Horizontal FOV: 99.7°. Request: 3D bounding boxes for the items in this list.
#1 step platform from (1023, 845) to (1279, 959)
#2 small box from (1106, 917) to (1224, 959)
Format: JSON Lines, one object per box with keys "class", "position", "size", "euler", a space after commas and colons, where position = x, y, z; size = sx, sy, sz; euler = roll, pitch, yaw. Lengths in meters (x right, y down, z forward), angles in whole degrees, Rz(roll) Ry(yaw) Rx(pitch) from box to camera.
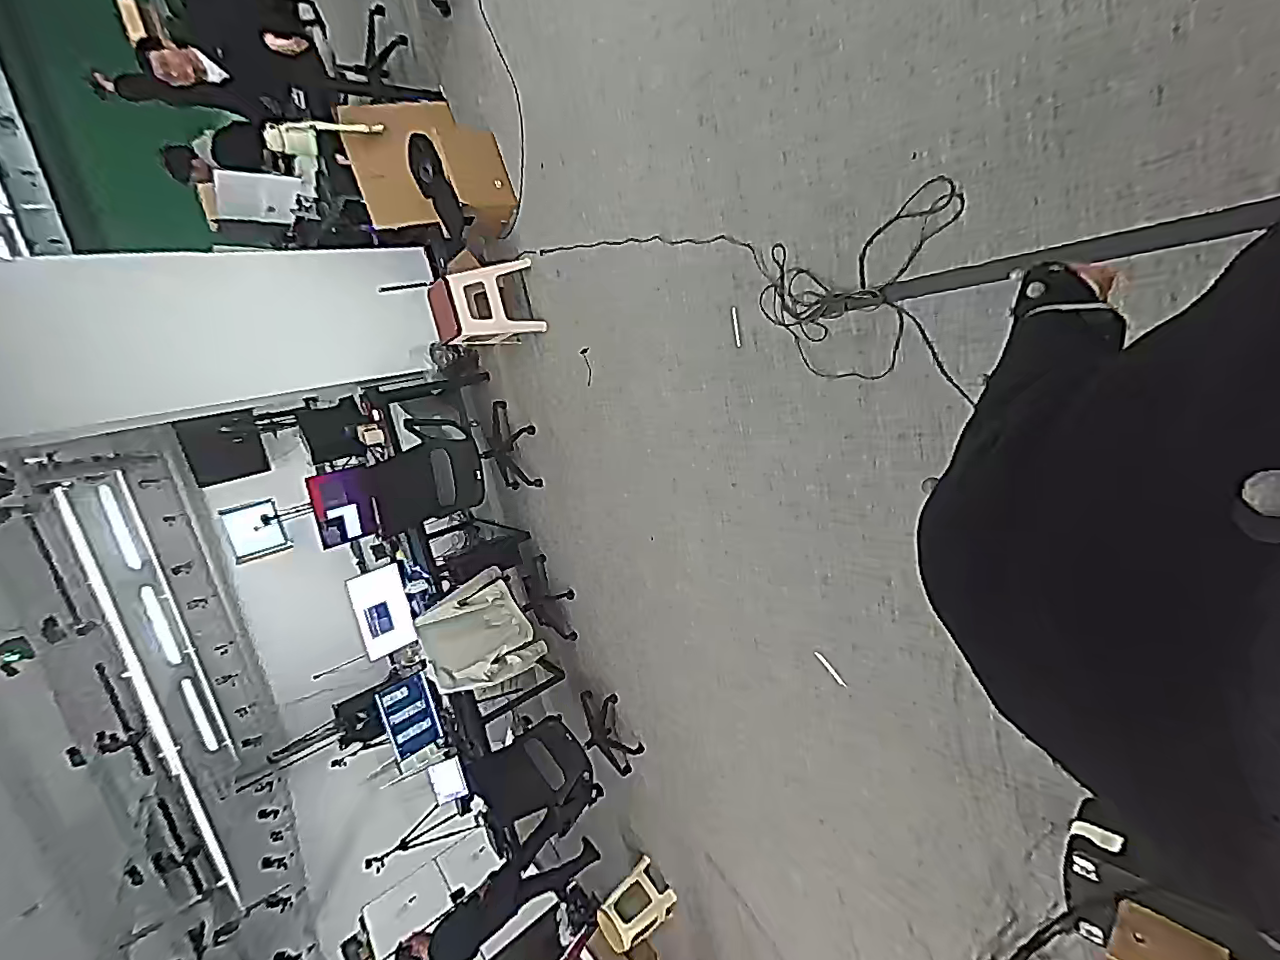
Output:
{"class": "step platform", "position": [1.183, 1.049, 1.056], "size": [0.684, 0.204, 0.286], "euler": [2, 109, 54]}
{"class": "small box", "position": [1.152, 1.084, 1.180], "size": [0.179, 0.176, 0.168], "euler": [6, 112, 52]}
